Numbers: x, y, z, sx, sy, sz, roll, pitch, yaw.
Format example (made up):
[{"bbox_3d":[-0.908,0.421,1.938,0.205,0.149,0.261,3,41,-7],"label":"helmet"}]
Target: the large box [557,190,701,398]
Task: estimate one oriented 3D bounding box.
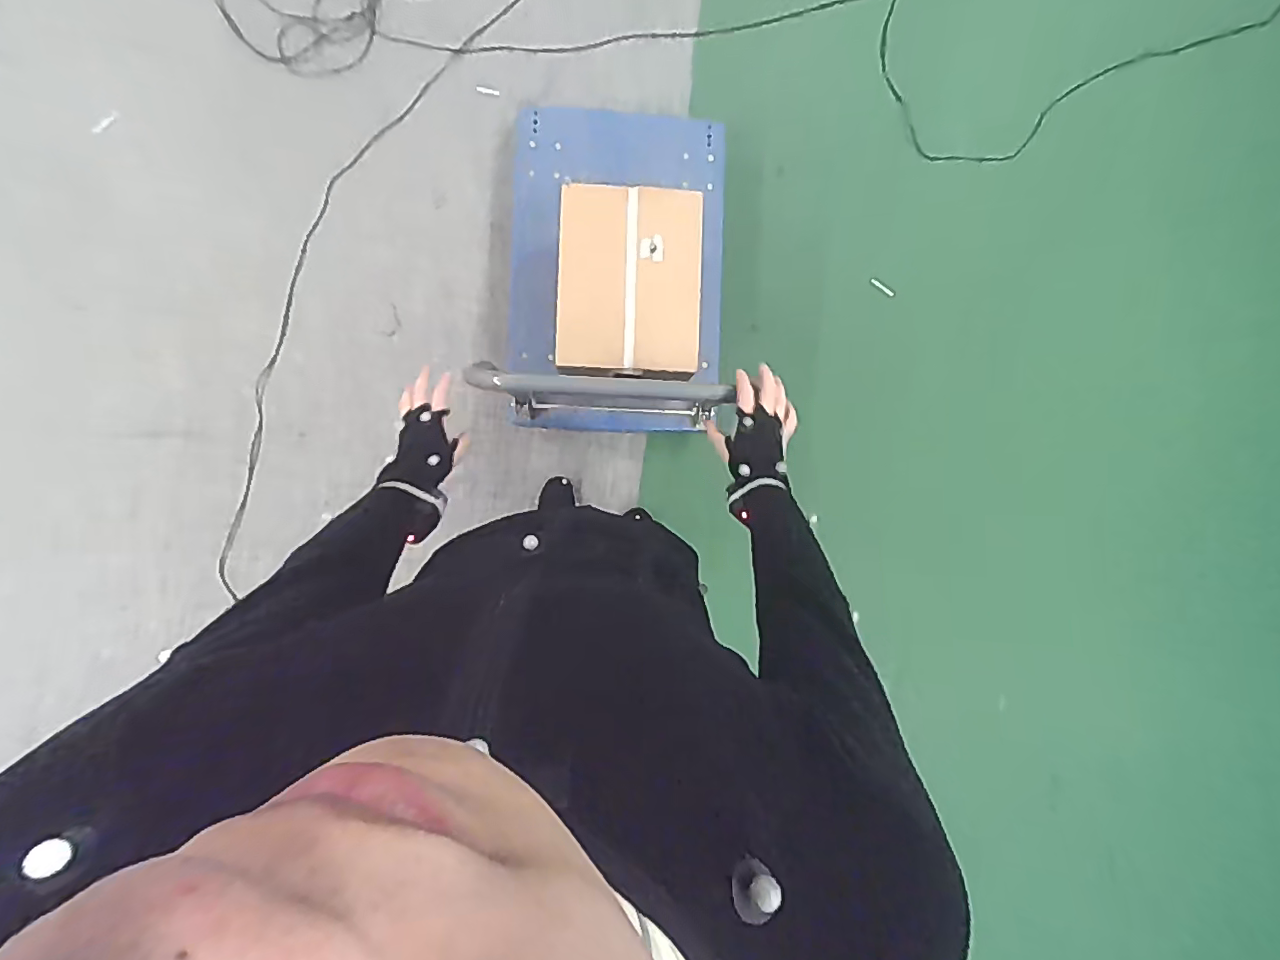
[{"bbox_3d":[-0.031,-0.427,1.331,0.320,0.320,0.408,2,88,-5],"label":"large box"}]
